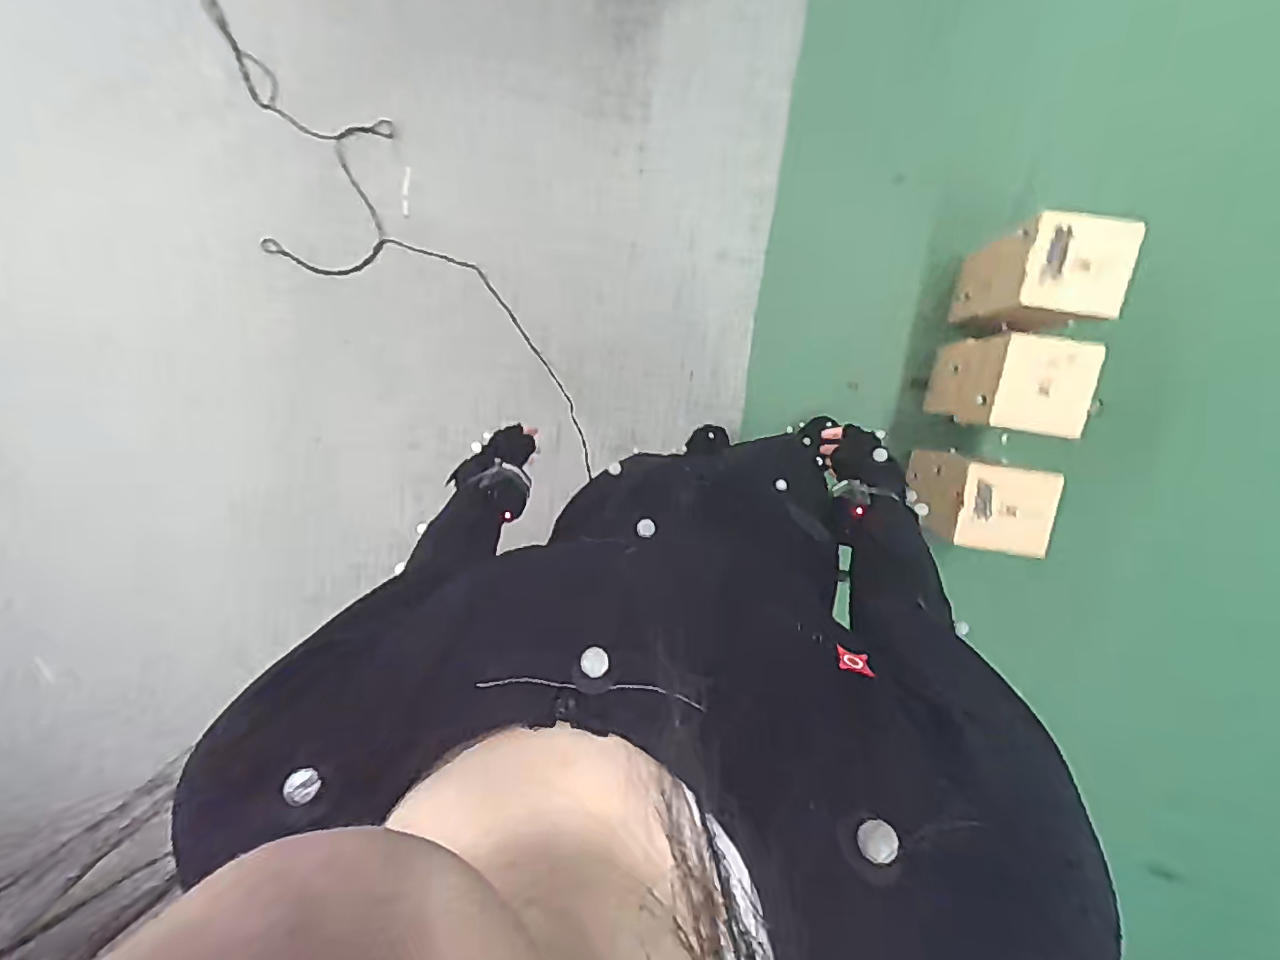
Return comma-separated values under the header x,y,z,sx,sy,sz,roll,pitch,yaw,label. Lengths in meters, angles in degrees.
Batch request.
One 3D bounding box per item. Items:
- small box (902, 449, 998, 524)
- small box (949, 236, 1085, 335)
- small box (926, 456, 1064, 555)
x,y,z,sx,sy,sz,roll,pitch,yaw,label
0.762,0.021,1.304,0.179,0.176,0.168,9,100,8,small box
0.839,-0.432,1.226,0.179,0.176,0.168,14,100,7,small box
0.735,0.045,1.144,0.179,0.176,0.168,9,100,8,small box
